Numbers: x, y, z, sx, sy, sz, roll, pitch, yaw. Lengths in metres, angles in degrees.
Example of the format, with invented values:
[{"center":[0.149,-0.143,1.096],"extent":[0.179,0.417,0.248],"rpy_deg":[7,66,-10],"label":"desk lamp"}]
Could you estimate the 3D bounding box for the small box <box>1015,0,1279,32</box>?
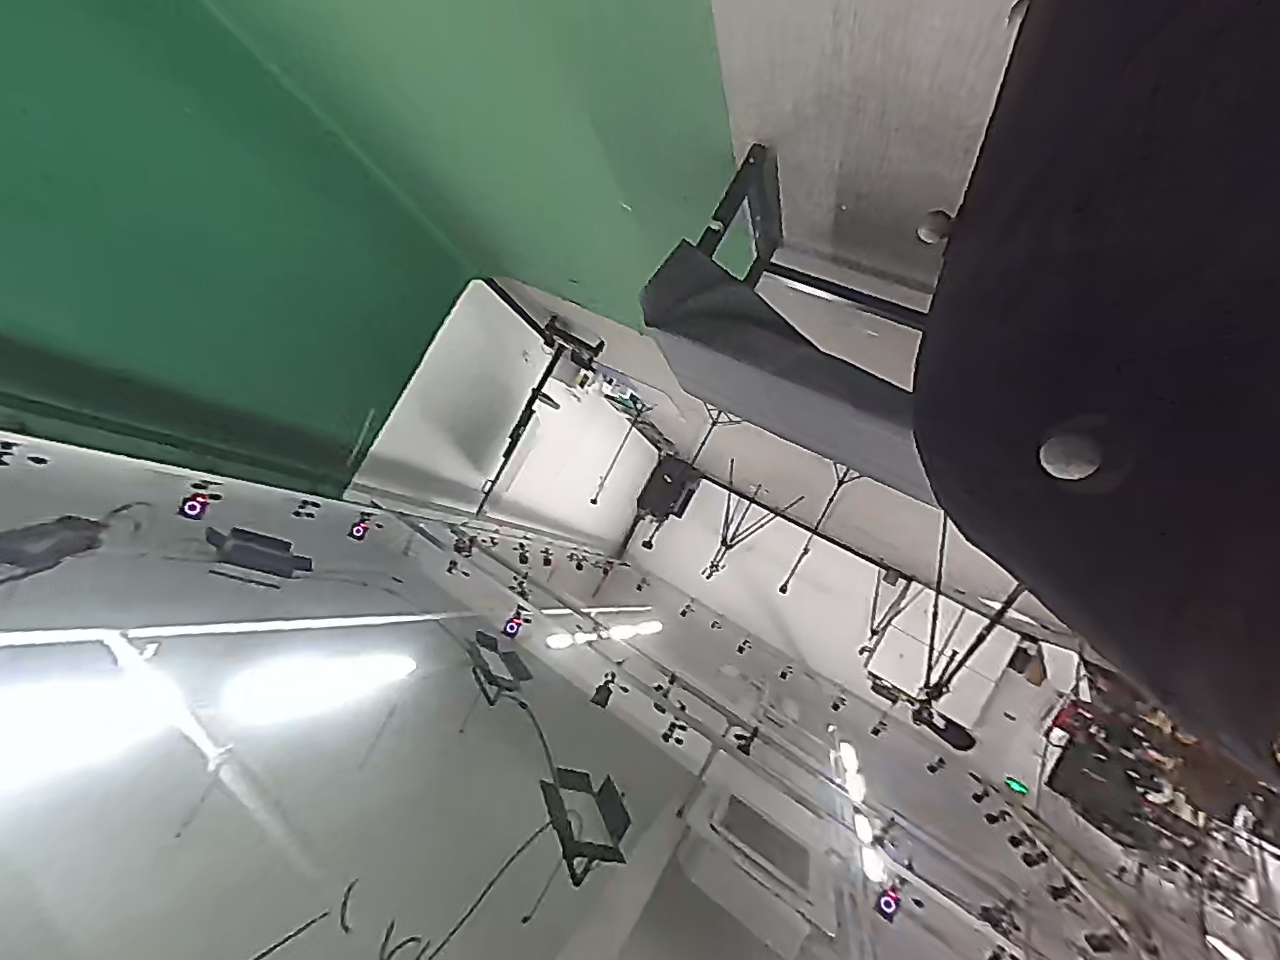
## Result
[{"center":[0.299,-0.318,0.226],"extent":[0.168,0.179,0.176],"rpy_deg":[12,-149,14],"label":"small box"}]
